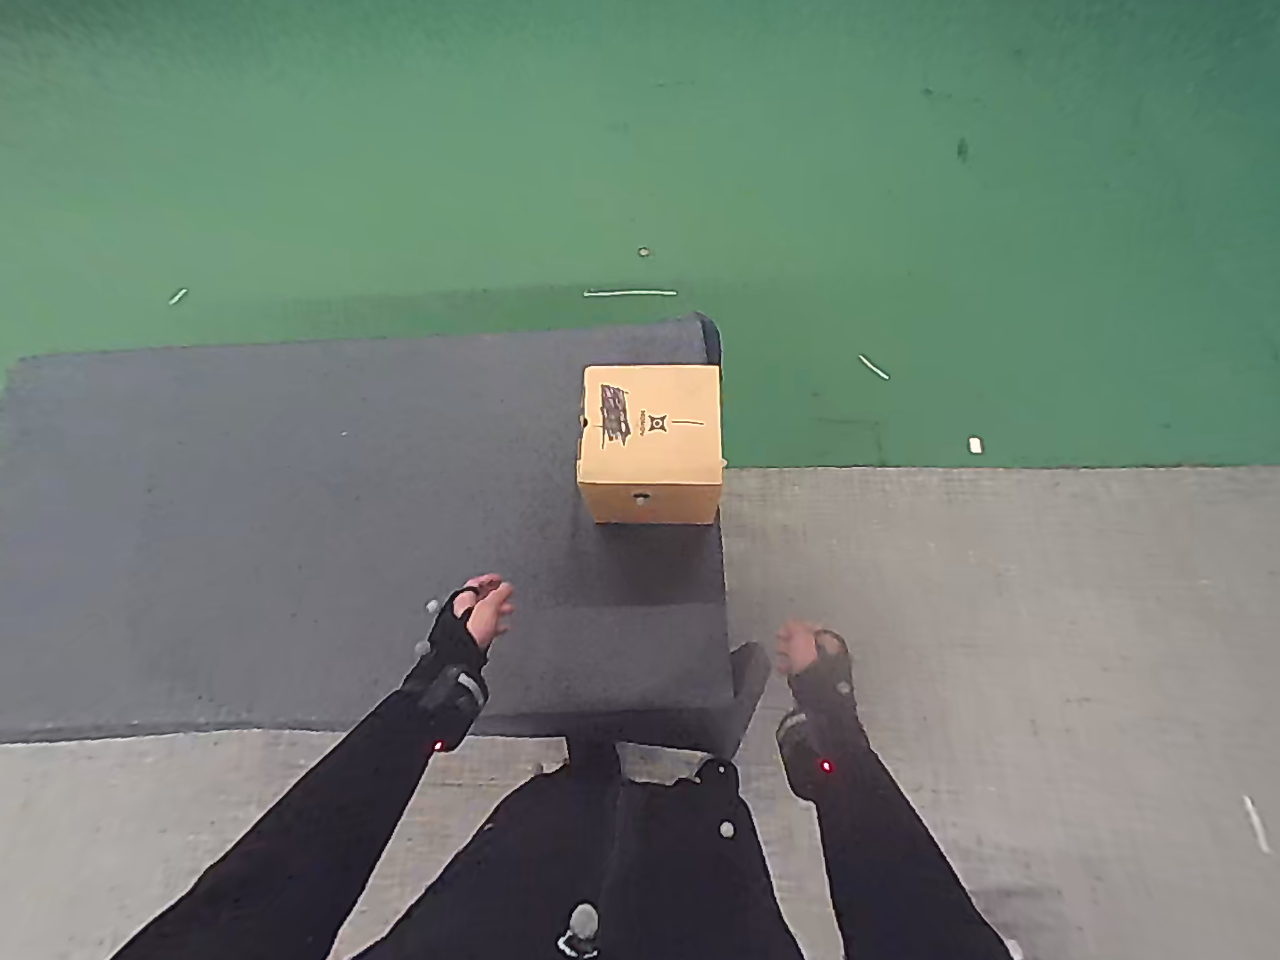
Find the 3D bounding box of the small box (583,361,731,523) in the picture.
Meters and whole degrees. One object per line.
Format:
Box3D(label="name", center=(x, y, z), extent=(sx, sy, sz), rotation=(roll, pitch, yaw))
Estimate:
Box3D(label="small box", center=(0.023, -0.043, 0.734), extent=(0.179, 0.176, 0.168), rotation=(2, 68, 0))
